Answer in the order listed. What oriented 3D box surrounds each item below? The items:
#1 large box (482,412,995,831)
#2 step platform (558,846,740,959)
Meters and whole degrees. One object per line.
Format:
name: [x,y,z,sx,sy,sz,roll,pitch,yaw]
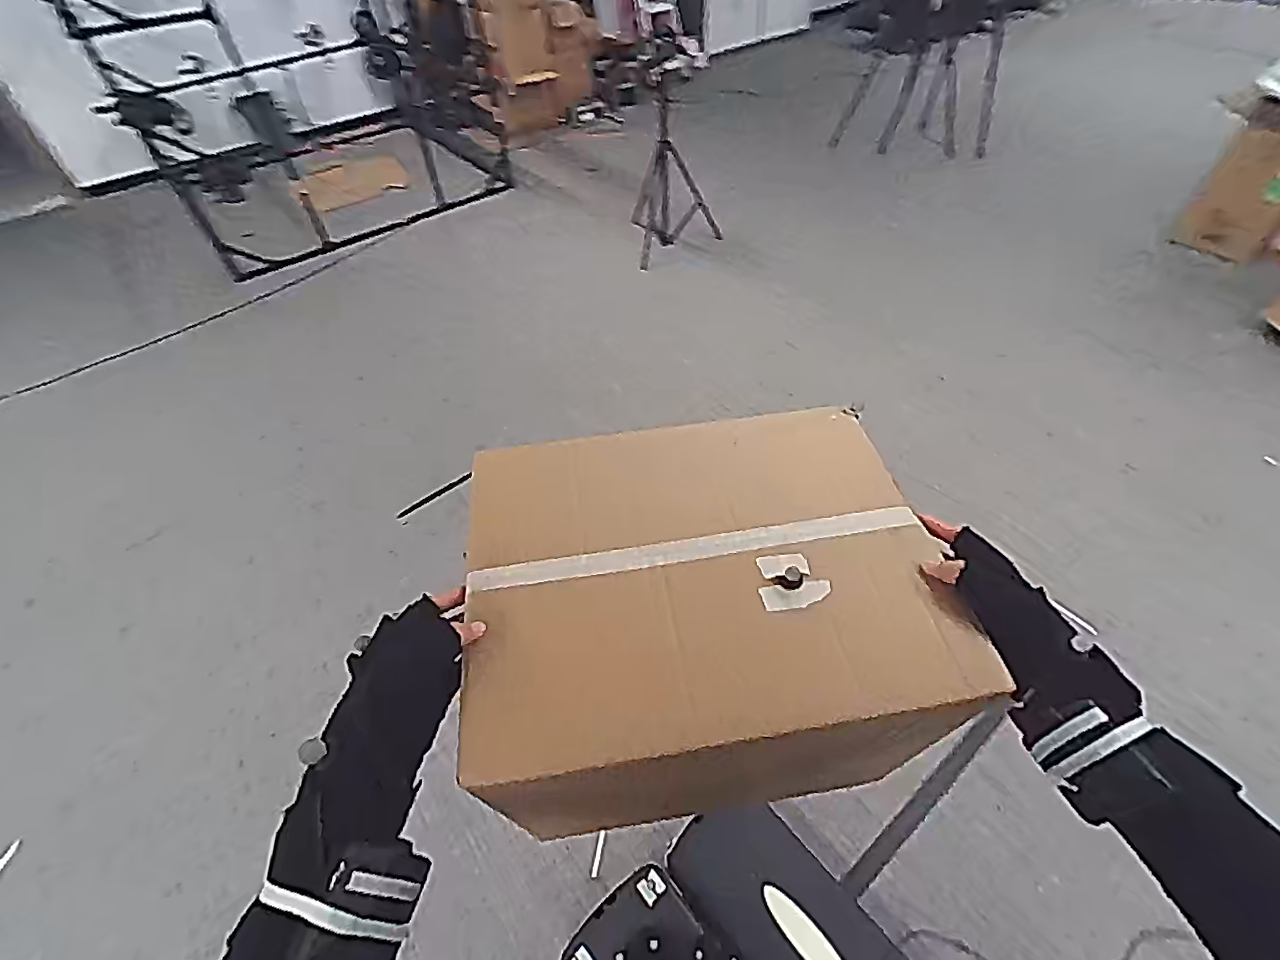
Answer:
large box: [0.060,0.161,0.607,0.408,0.320,0.320,-7,51,-5]
step platform: [0.131,1.136,1.098,0.286,0.204,0.684,-36,55,-24]
